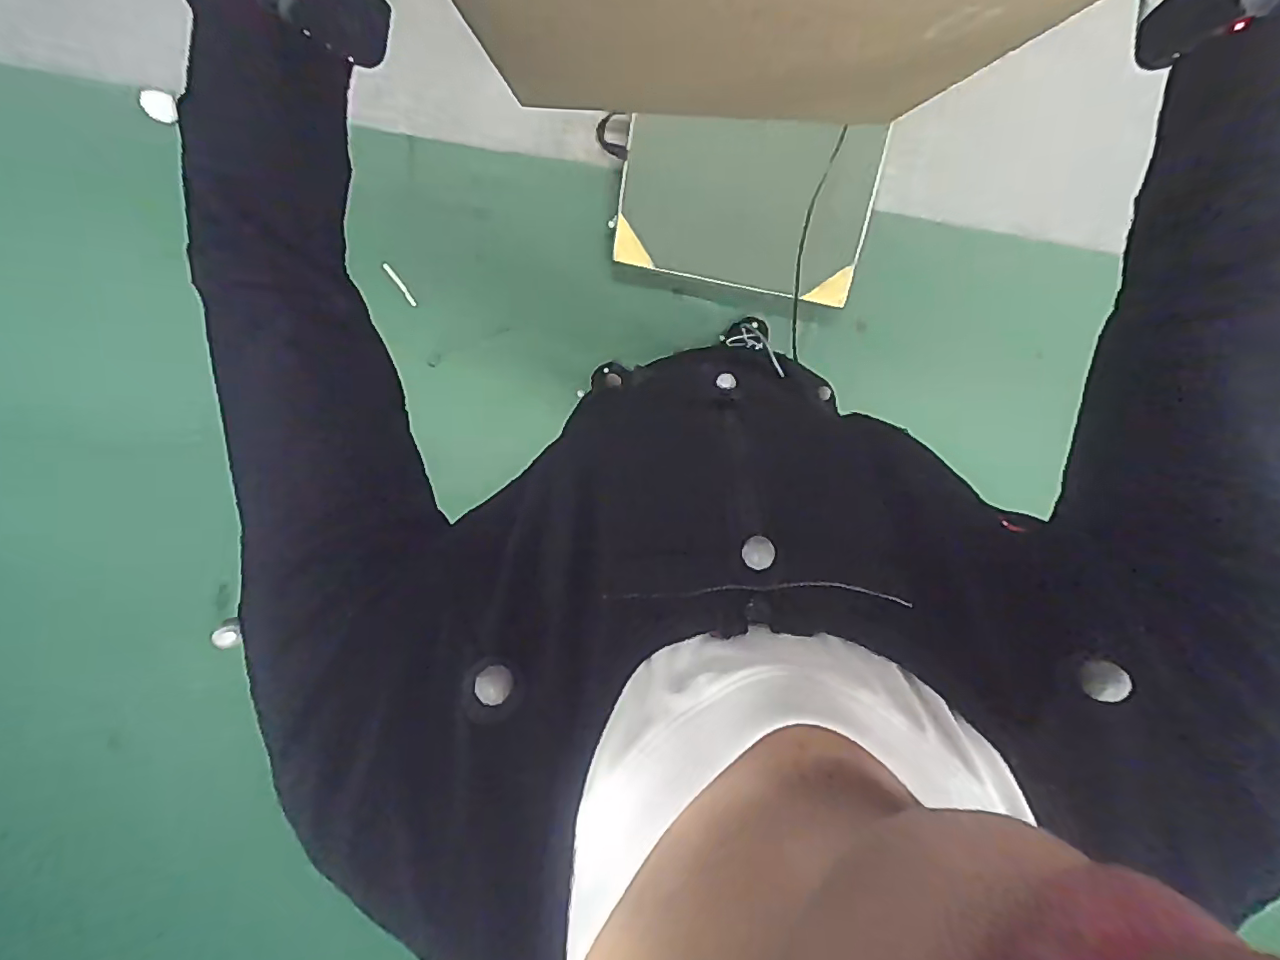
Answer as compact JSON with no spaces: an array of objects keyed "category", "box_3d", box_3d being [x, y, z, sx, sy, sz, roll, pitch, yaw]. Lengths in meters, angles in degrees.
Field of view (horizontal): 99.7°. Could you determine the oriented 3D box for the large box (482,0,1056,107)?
[{"category":"large box","box_3d":[0.084,-0.493,0.386,0.408,0.320,0.320,1,112,-3]}]
